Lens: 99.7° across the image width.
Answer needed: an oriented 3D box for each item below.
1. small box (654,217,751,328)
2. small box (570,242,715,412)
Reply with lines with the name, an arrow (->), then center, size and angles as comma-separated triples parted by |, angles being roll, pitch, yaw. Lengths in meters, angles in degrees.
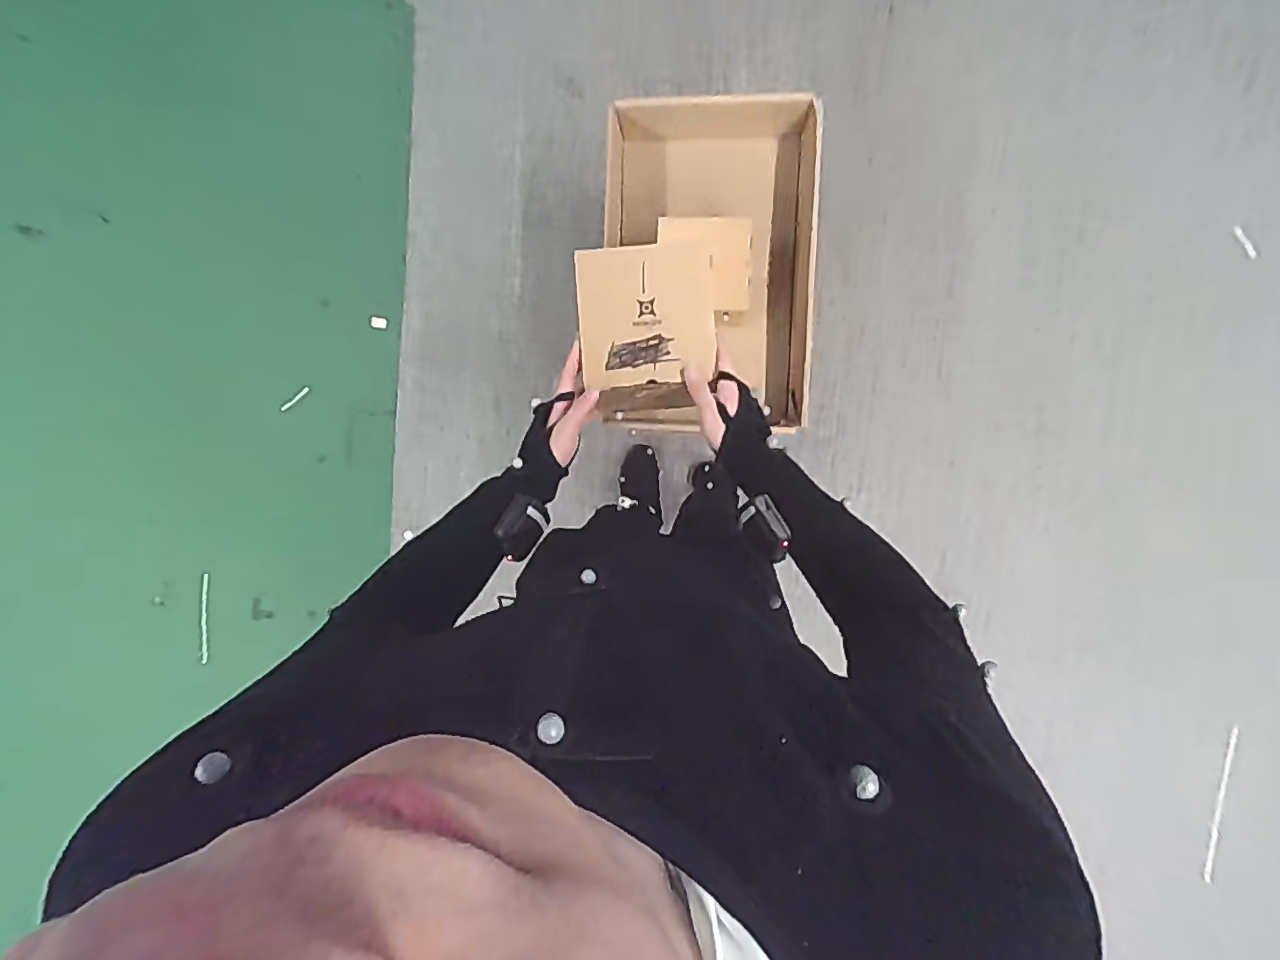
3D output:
small box -> 0.119, -0.402, 1.070 | 0.179, 0.176, 0.168 | 3, 95, 5
small box -> 0.004, -0.191, 0.726 | 0.168, 0.176, 0.179 | -5, 87, 0
